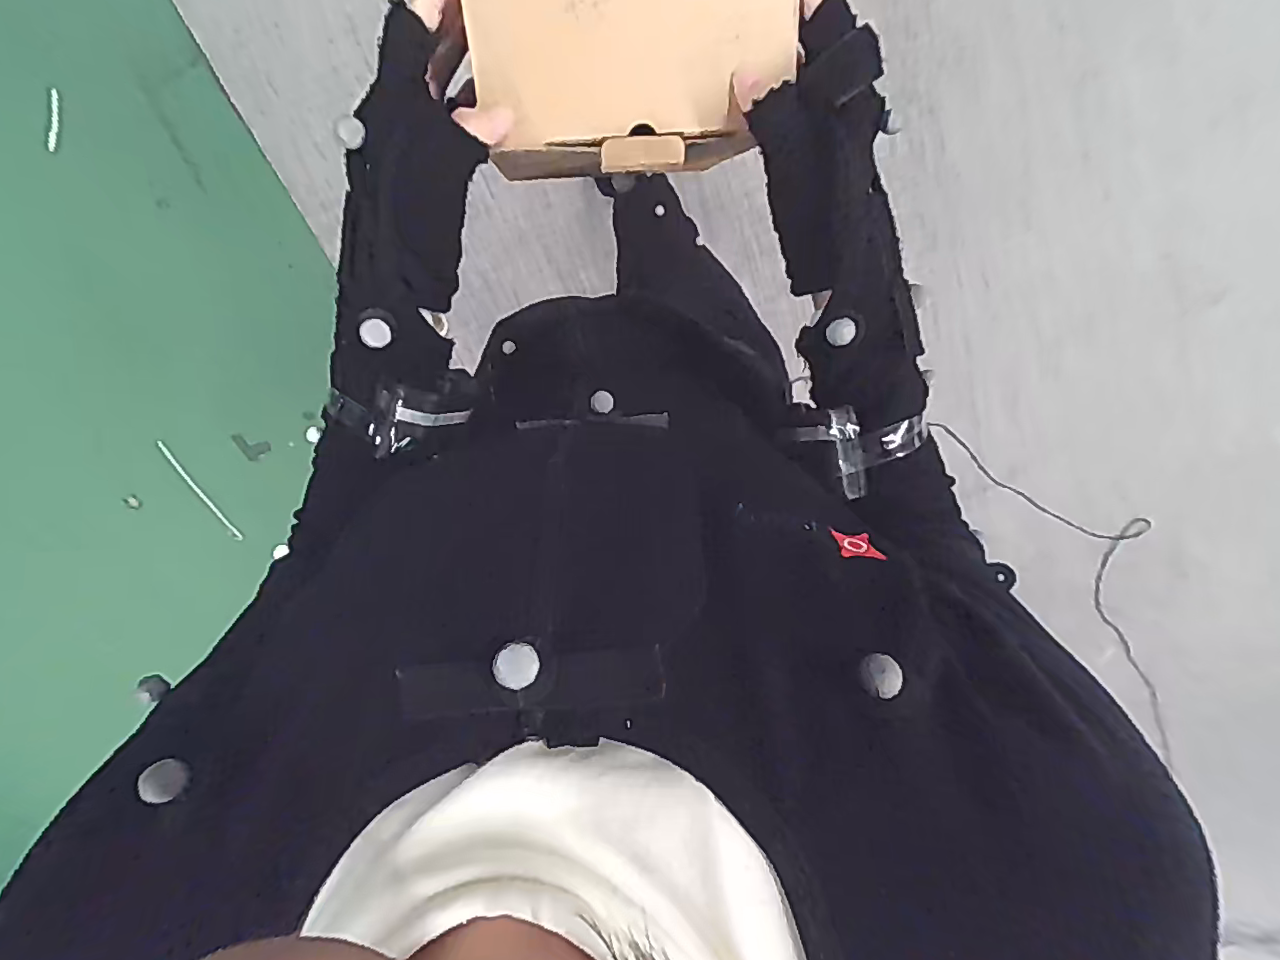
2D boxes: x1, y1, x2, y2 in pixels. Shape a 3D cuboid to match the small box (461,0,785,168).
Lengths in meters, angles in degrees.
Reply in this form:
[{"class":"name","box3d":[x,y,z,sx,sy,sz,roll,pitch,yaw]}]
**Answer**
[{"class":"small box","box3d":[-0.017,-0.297,0.330,0.168,0.176,0.179,-7,116,-4]}]
